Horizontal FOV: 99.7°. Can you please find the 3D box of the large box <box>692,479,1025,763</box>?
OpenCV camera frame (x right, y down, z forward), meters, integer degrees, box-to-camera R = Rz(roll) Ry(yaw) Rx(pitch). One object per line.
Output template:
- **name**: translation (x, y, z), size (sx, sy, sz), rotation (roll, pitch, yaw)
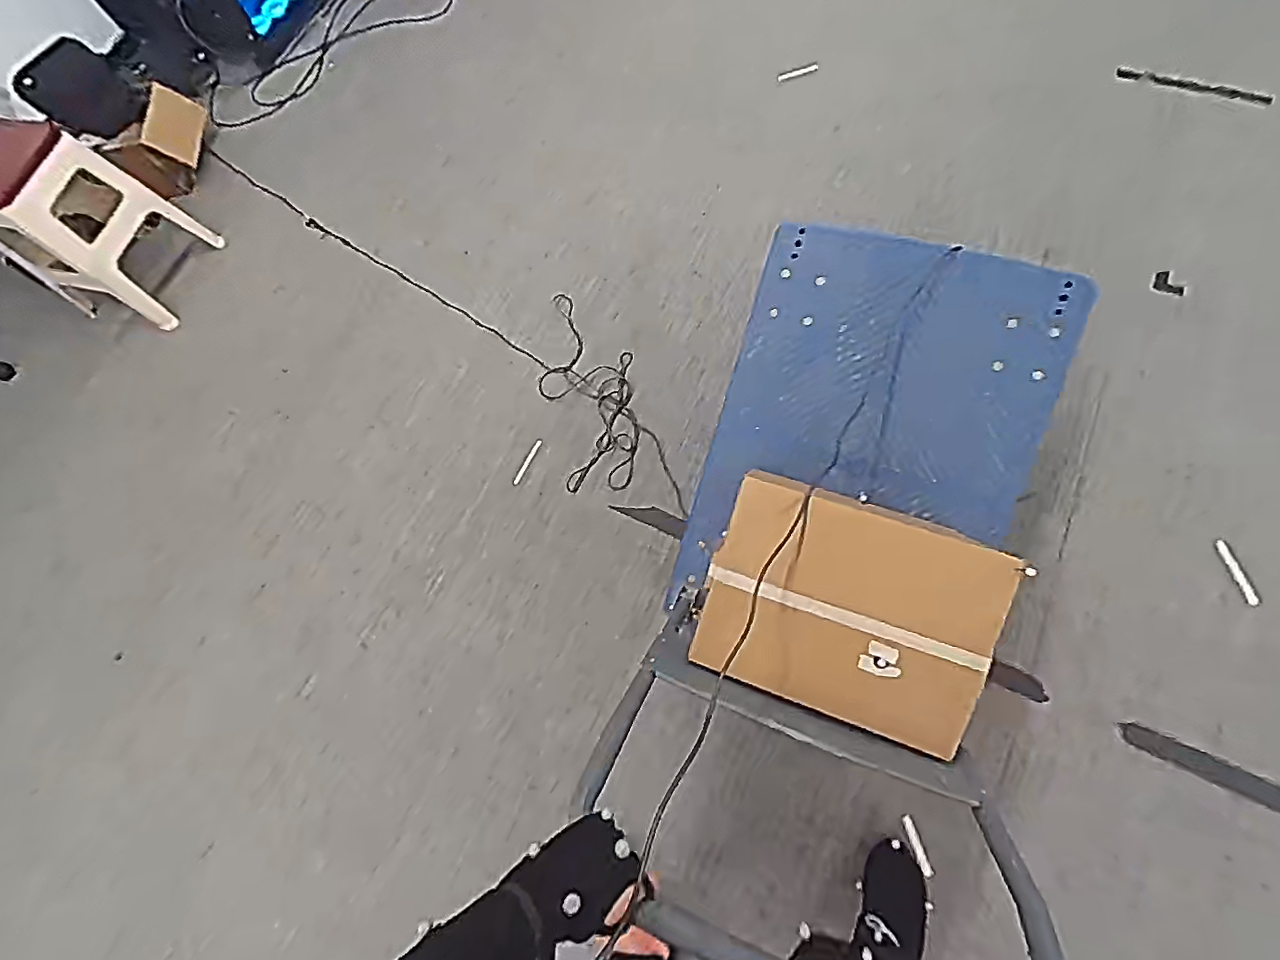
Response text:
- **large box**: translation (0.339, 0.201, 0.945), size (0.408, 0.320, 0.320), rotation (18, 98, 12)
